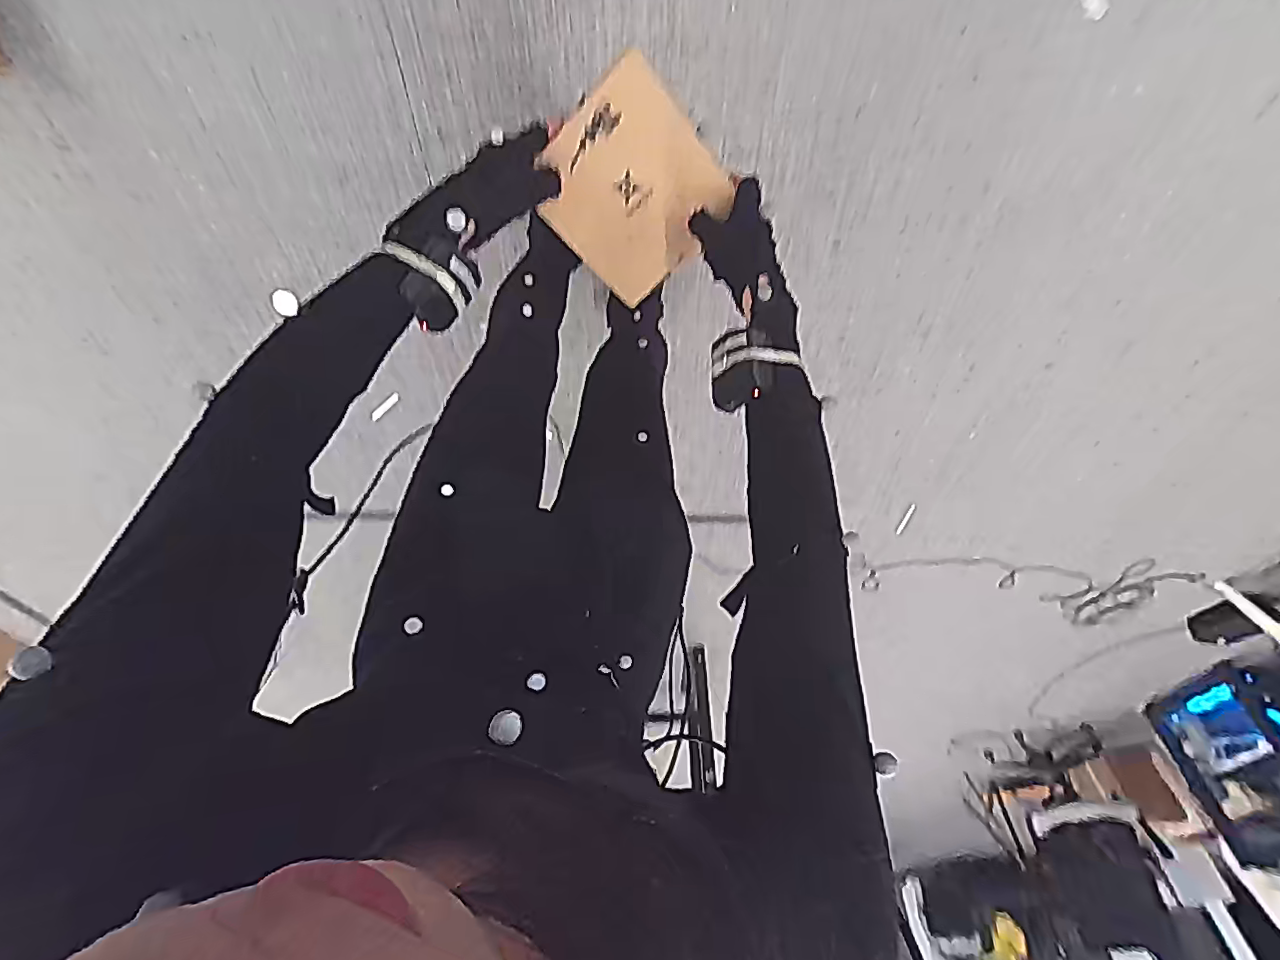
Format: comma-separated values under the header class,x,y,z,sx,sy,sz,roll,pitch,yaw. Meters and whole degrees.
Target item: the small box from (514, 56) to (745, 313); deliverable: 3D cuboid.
class,x,y,z,sx,sy,sz,roll,pitch,yaw
small box,-0.009,-0.329,0.600,0.168,0.176,0.179,-36,122,25
